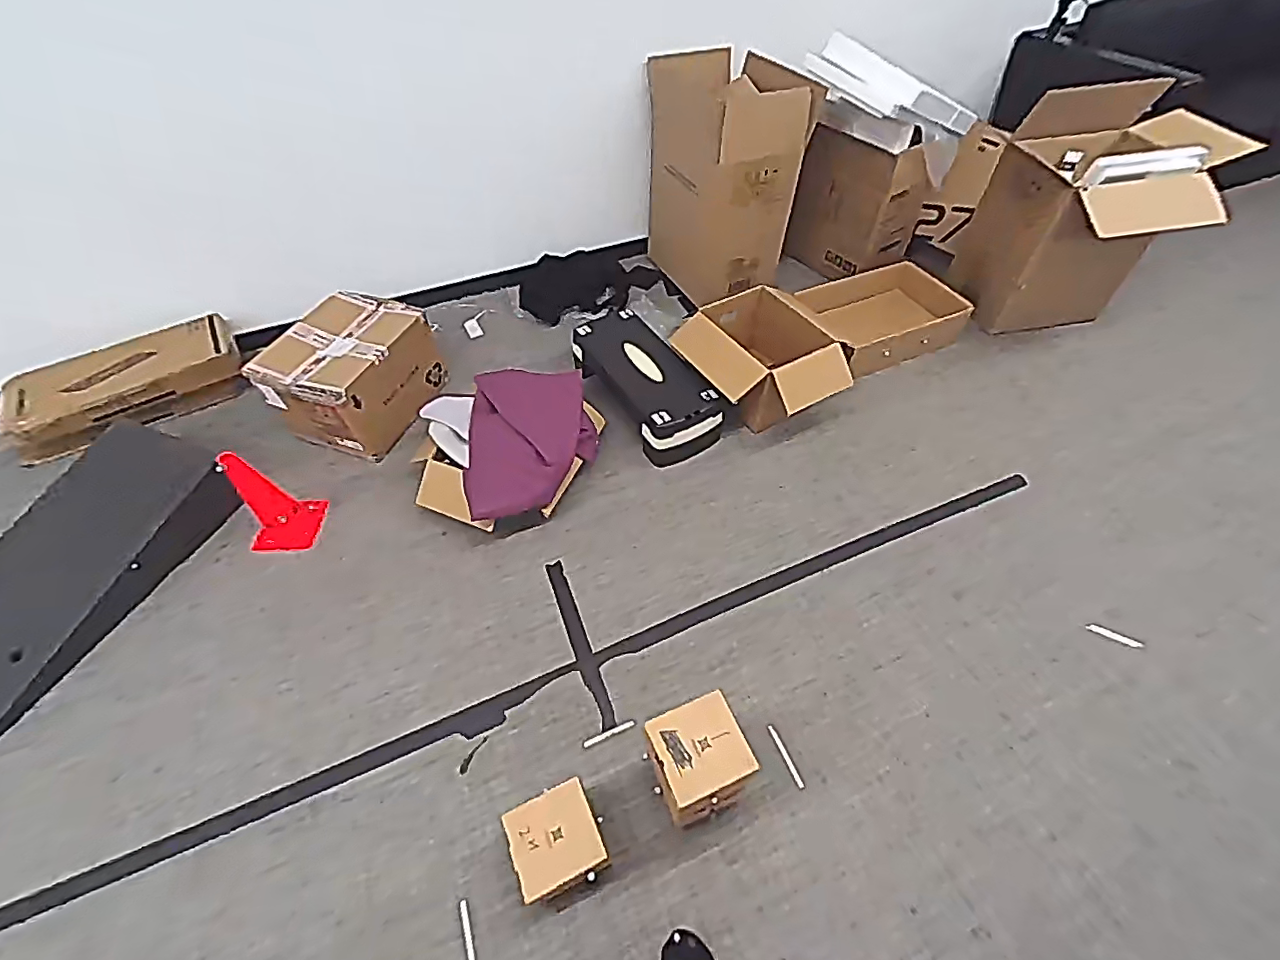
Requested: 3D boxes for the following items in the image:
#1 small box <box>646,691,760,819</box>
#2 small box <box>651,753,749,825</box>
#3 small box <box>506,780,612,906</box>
[{"bbox_3d":[0.124,0.573,1.120,0.179,0.176,0.168,-19,54,-14],"label":"small box"},{"bbox_3d":[0.132,0.675,1.251,0.168,0.176,0.179,-18,54,-12],"label":"small box"},{"bbox_3d":[-0.168,0.783,1.169,0.179,0.176,0.168,-22,54,-14],"label":"small box"}]
